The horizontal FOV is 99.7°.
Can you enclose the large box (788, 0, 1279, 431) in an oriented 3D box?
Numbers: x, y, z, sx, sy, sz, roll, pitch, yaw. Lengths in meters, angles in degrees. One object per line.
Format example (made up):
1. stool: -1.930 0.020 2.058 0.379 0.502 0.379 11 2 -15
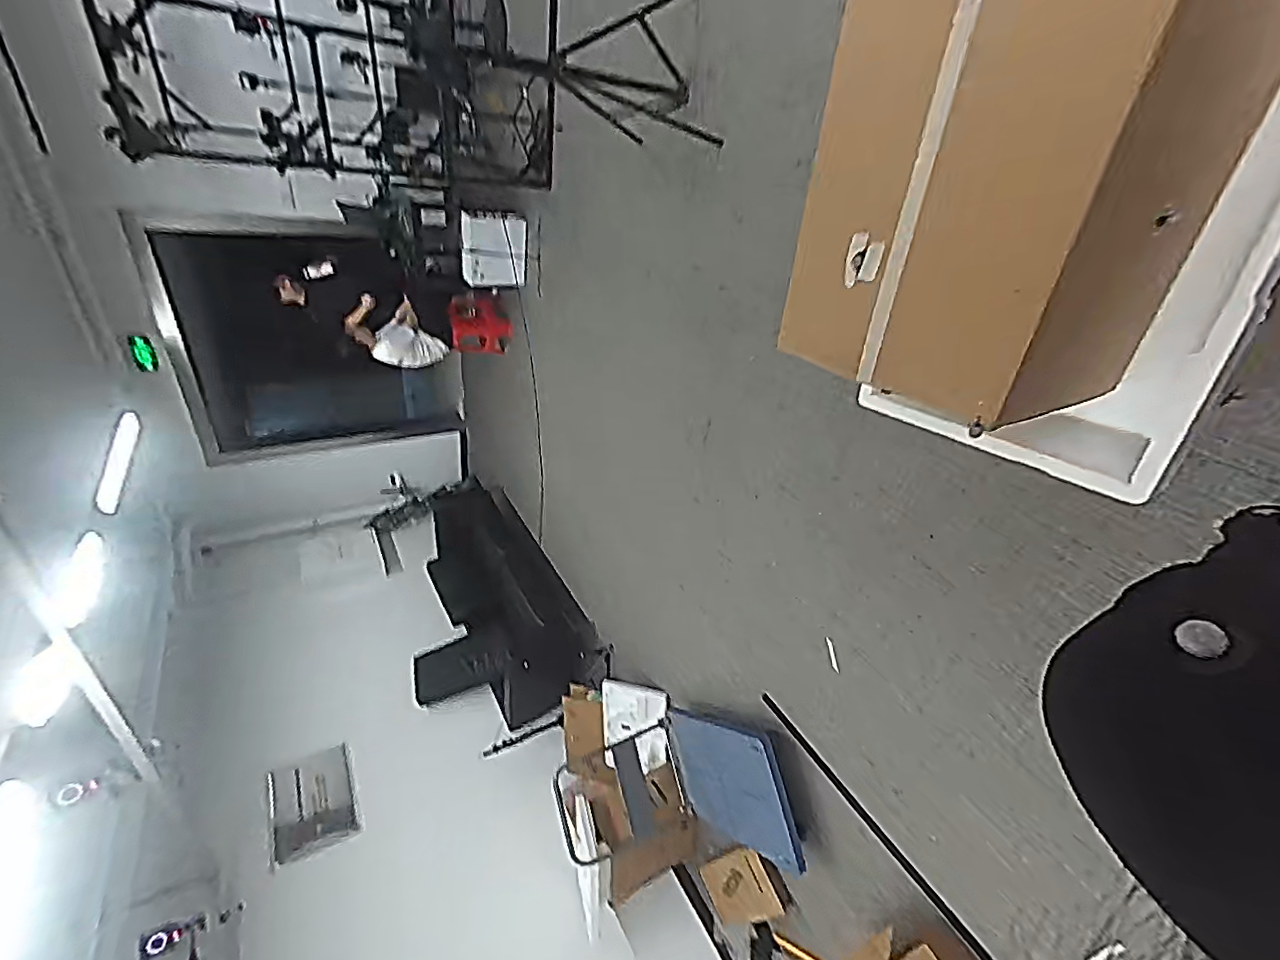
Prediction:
1. large box: 0.422 -0.320 0.629 0.320 0.320 0.408 41 137 48
